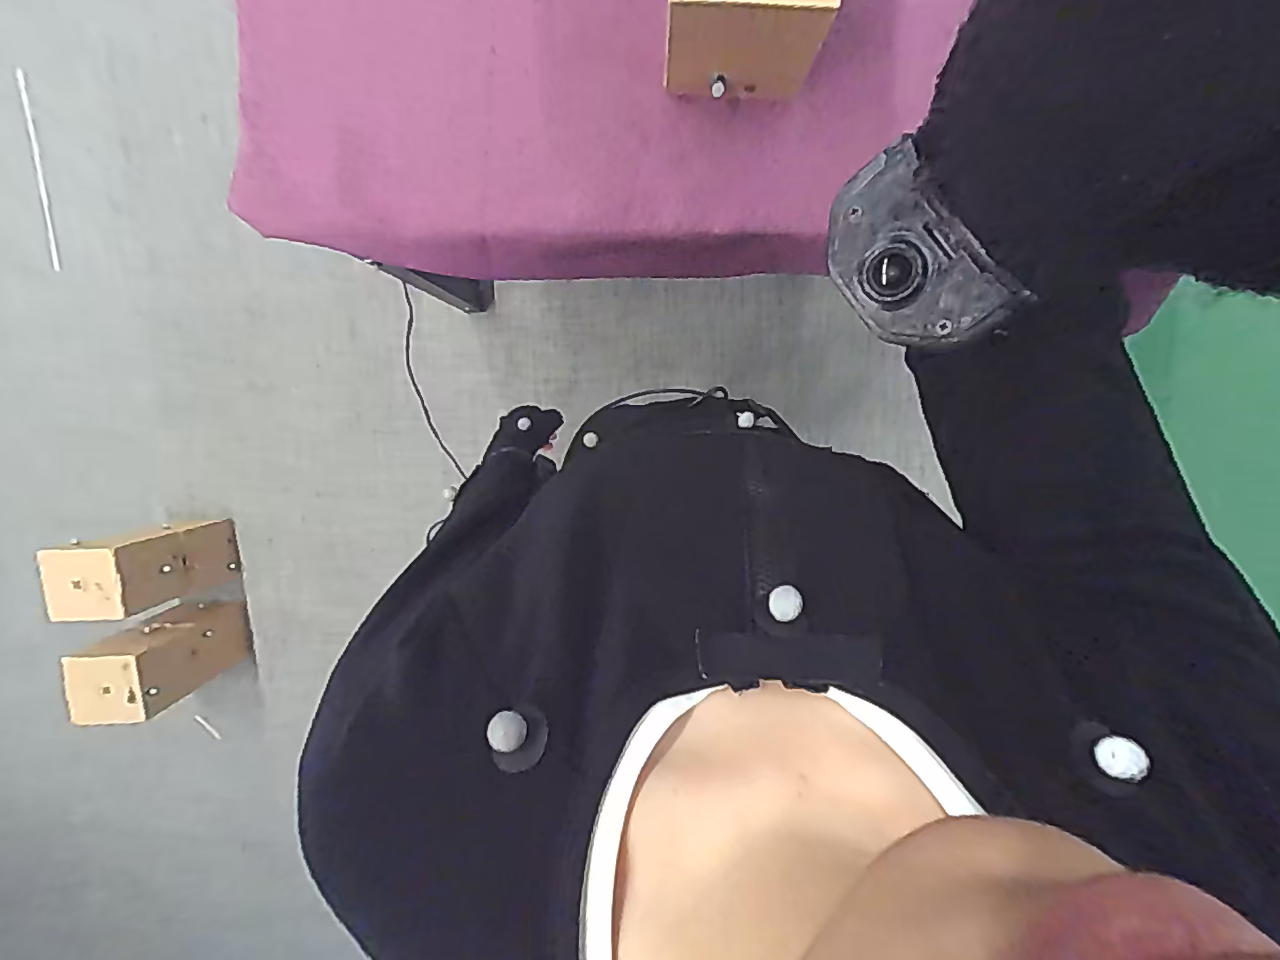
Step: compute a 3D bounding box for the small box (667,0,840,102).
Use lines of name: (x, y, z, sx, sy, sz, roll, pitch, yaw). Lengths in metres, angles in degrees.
small box: (0.118, -0.555, 0.586, 0.168, 0.176, 0.179, 4, 98, 1)

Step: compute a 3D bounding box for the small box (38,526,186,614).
small box: (-1.229, 0.207, 1.271, 0.179, 0.176, 0.168, -2, 98, 1)

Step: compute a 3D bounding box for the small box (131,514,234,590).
small box: (-1.219, 0.187, 1.434, 0.179, 0.176, 0.168, -2, 97, 2)
